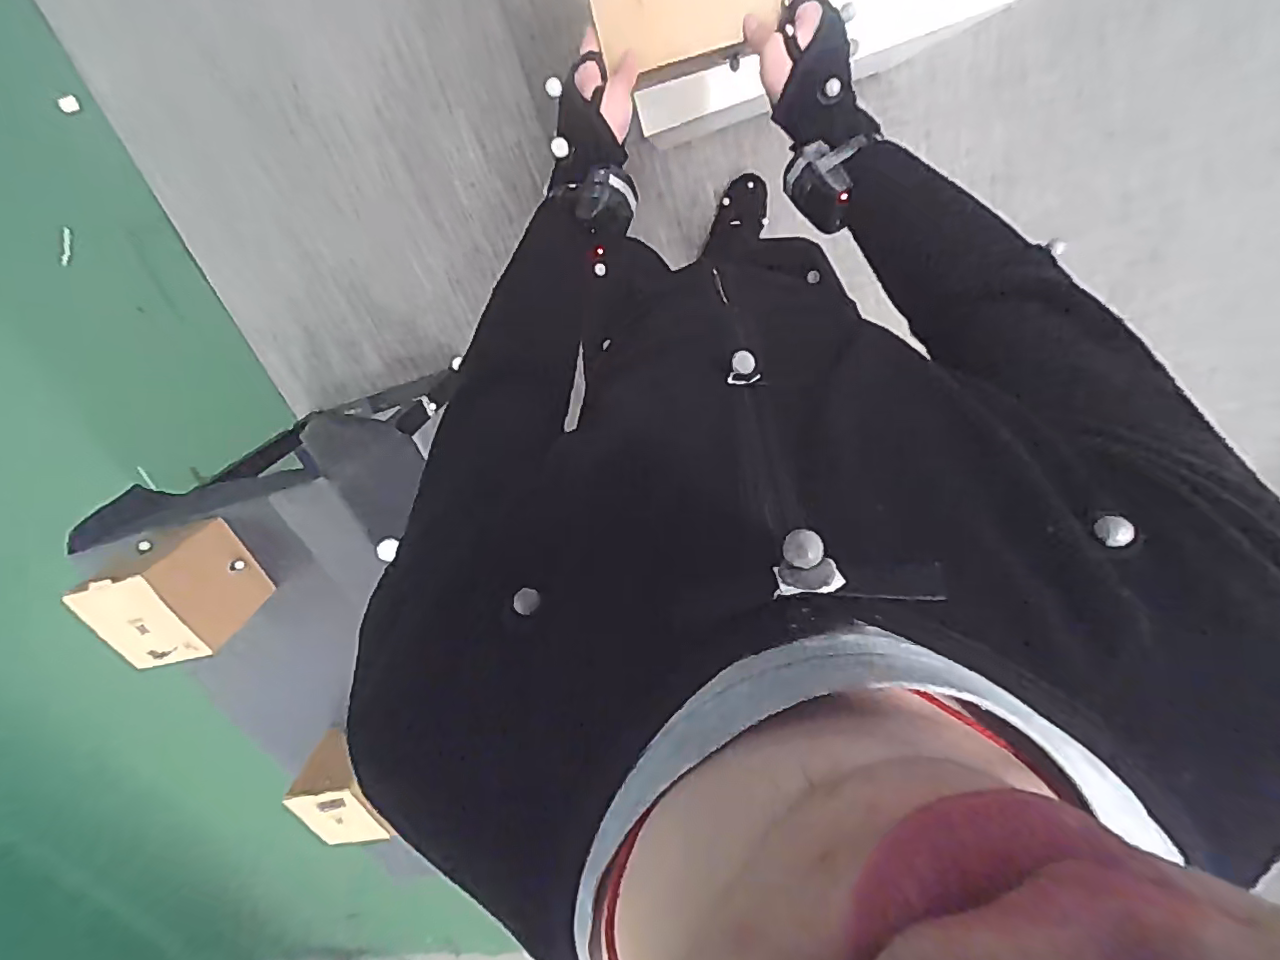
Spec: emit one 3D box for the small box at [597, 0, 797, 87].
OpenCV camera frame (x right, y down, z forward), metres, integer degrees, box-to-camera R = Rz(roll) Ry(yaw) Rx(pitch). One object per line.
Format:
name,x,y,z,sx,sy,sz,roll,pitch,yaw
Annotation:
small box,0.041,-0.508,0.525,0.179,0.176,0.168,-11,120,9

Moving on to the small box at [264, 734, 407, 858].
small box,-0.638,0.667,1.157,0.168,0.176,0.179,-13,118,10

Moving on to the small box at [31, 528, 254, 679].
small box,-0.812,0.198,0.906,0.168,0.176,0.179,-13,117,10
